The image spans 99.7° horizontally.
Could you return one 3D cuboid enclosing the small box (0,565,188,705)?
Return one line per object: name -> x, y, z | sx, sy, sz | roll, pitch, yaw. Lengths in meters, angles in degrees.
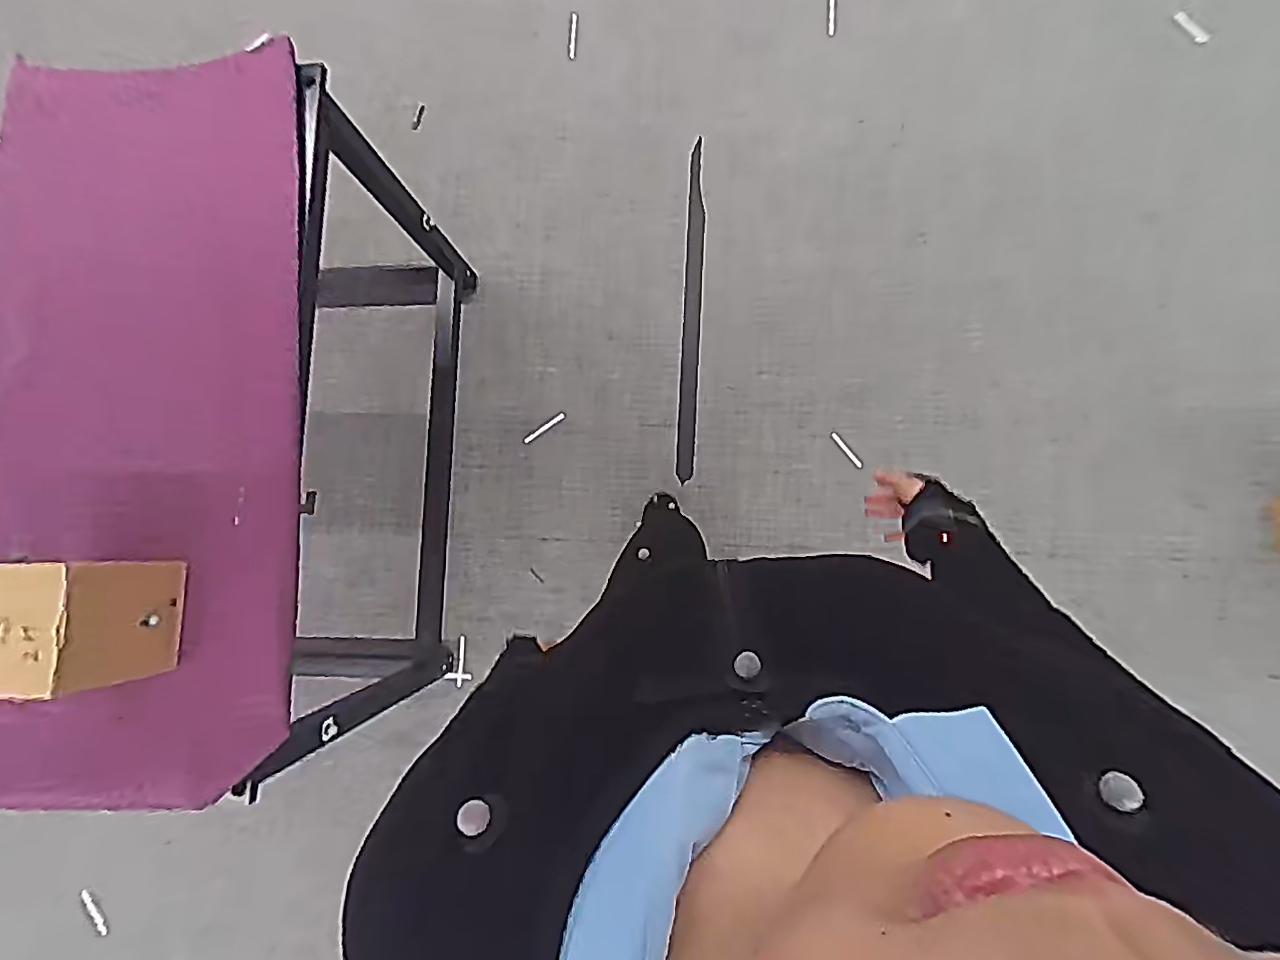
small box -> -0.792, 0.205, 0.753 | 0.179, 0.176, 0.168 | -1, 82, 4
